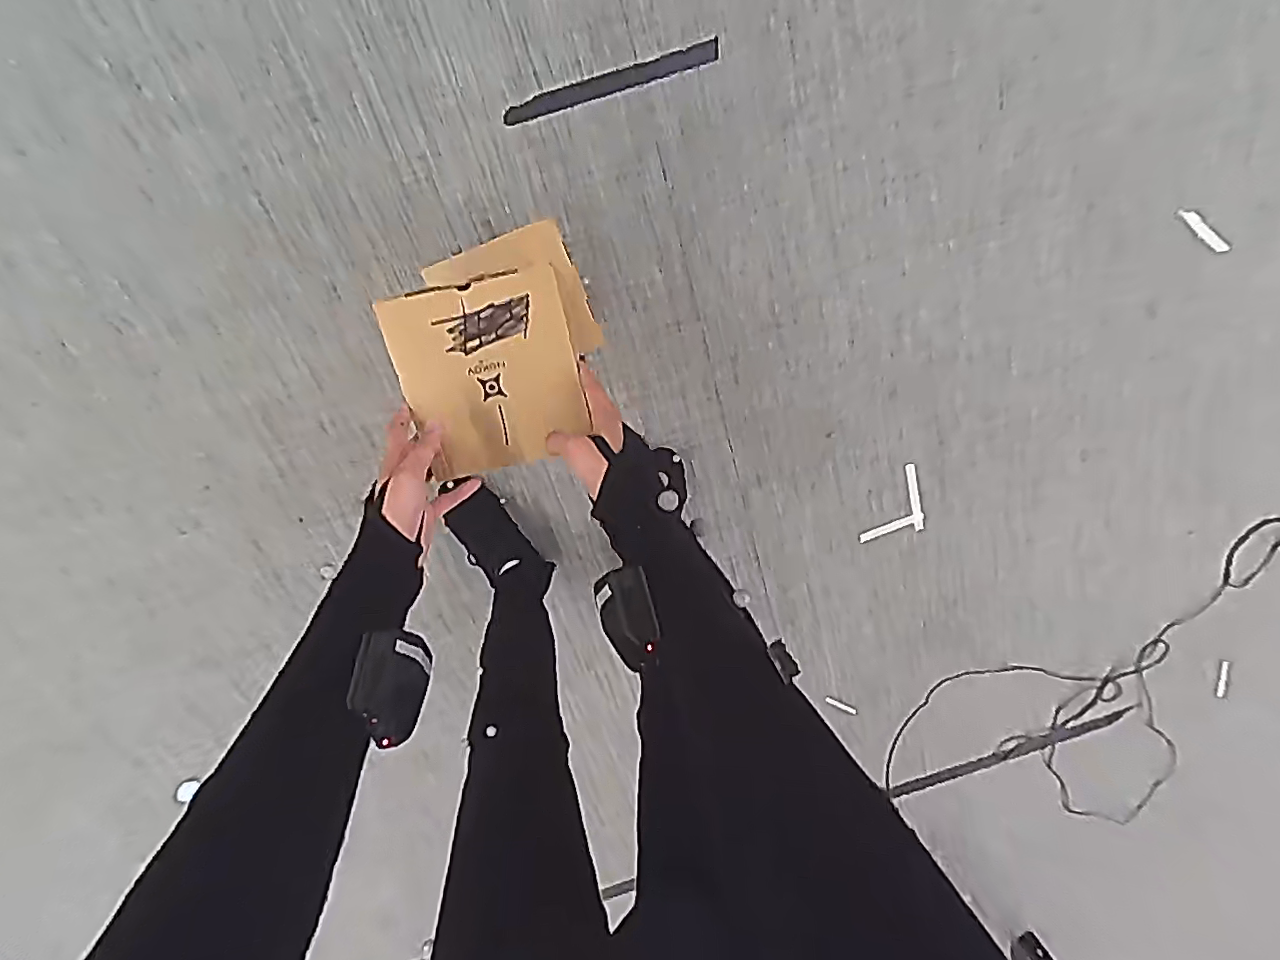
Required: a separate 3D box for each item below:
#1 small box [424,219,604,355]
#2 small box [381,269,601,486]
[{"bbox_3d":[-0.162,-0.236,0.747,0.179,0.176,0.168,-23,111,0],"label":"small box"},{"bbox_3d":[-0.140,-0.113,0.578,0.168,0.176,0.179,-12,109,0],"label":"small box"}]
